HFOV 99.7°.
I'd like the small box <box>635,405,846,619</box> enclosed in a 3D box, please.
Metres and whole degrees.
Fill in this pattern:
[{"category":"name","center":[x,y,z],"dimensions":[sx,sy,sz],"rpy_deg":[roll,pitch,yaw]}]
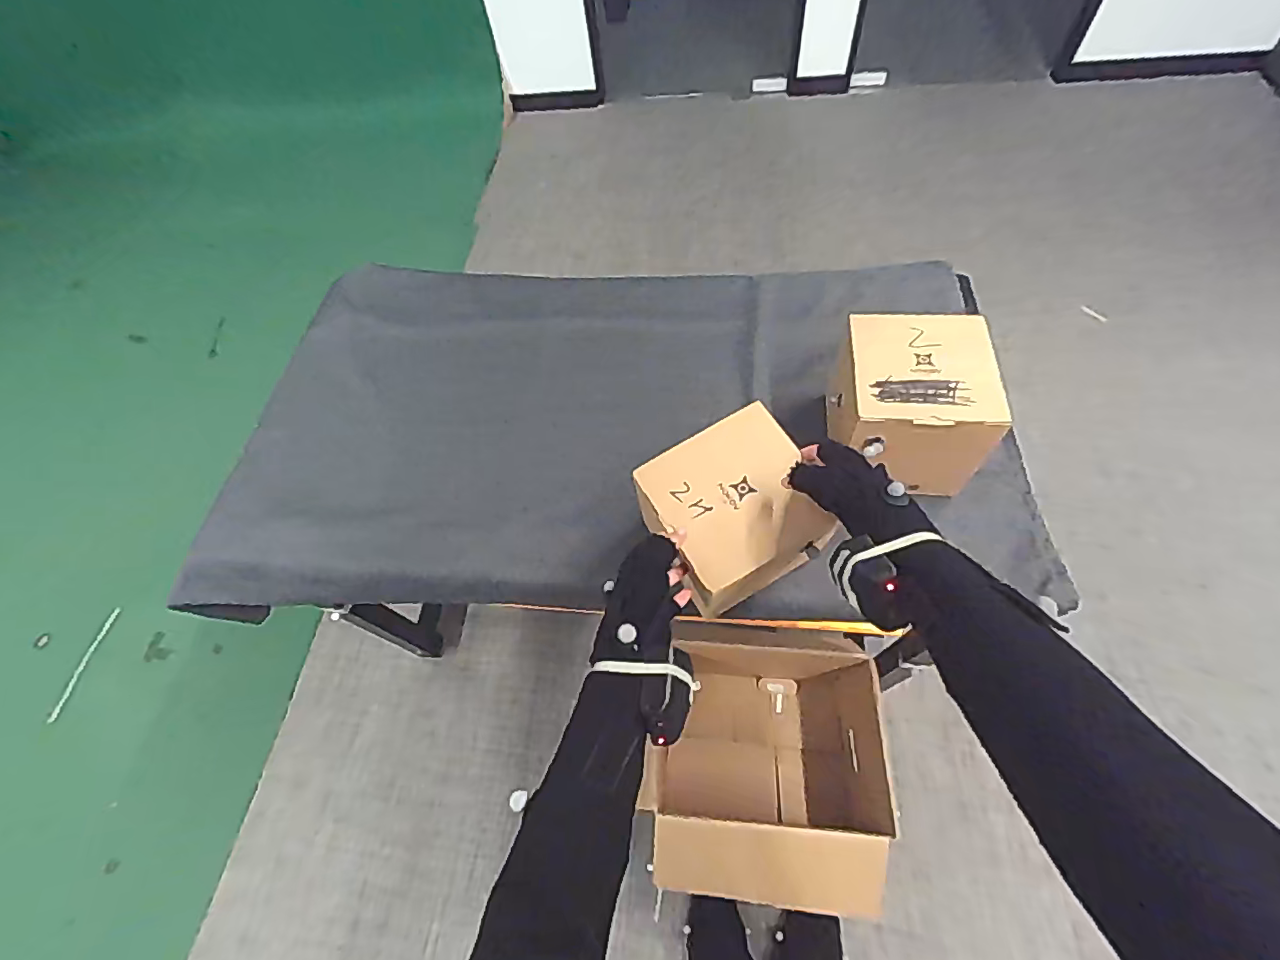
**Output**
[{"category":"small box","center":[0.113,0.047,0.659],"dimensions":[0.179,0.176,0.168],"rpy_deg":[-29,65,-7]}]
